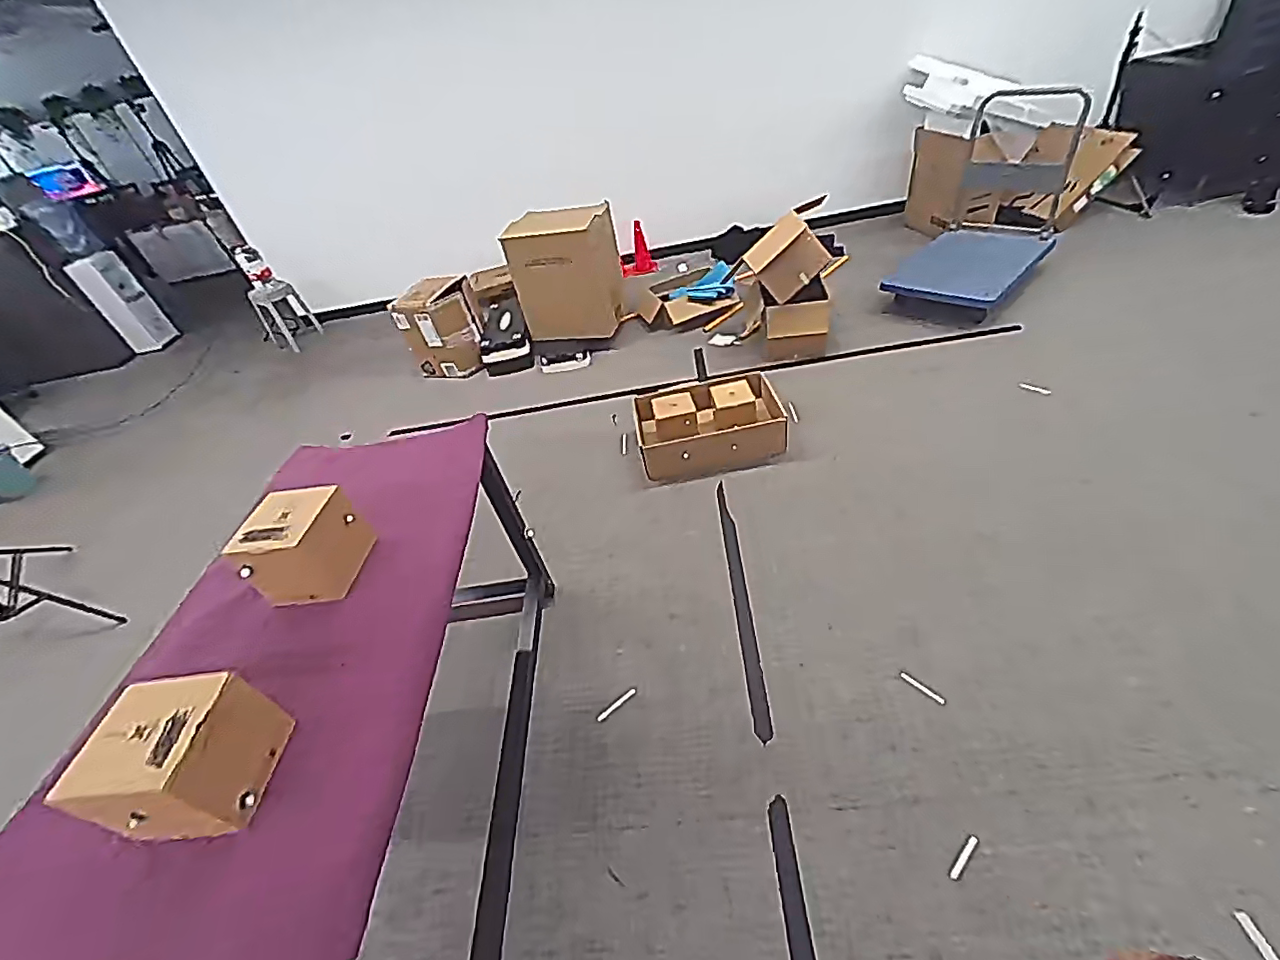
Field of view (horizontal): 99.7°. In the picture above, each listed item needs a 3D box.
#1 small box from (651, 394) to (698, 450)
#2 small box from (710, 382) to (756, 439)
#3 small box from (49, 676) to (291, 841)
[{"bbox_3d":[0.156,-0.254,2.395,0.179,0.176,0.168,-12,39,0],"label":"small box"},{"bbox_3d":[0.410,-0.304,2.387,0.168,0.176,0.179,-12,40,3],"label":"small box"},{"bbox_3d":[-0.675,0.417,0.807,0.179,0.176,0.168,-9,40,6],"label":"small box"}]
